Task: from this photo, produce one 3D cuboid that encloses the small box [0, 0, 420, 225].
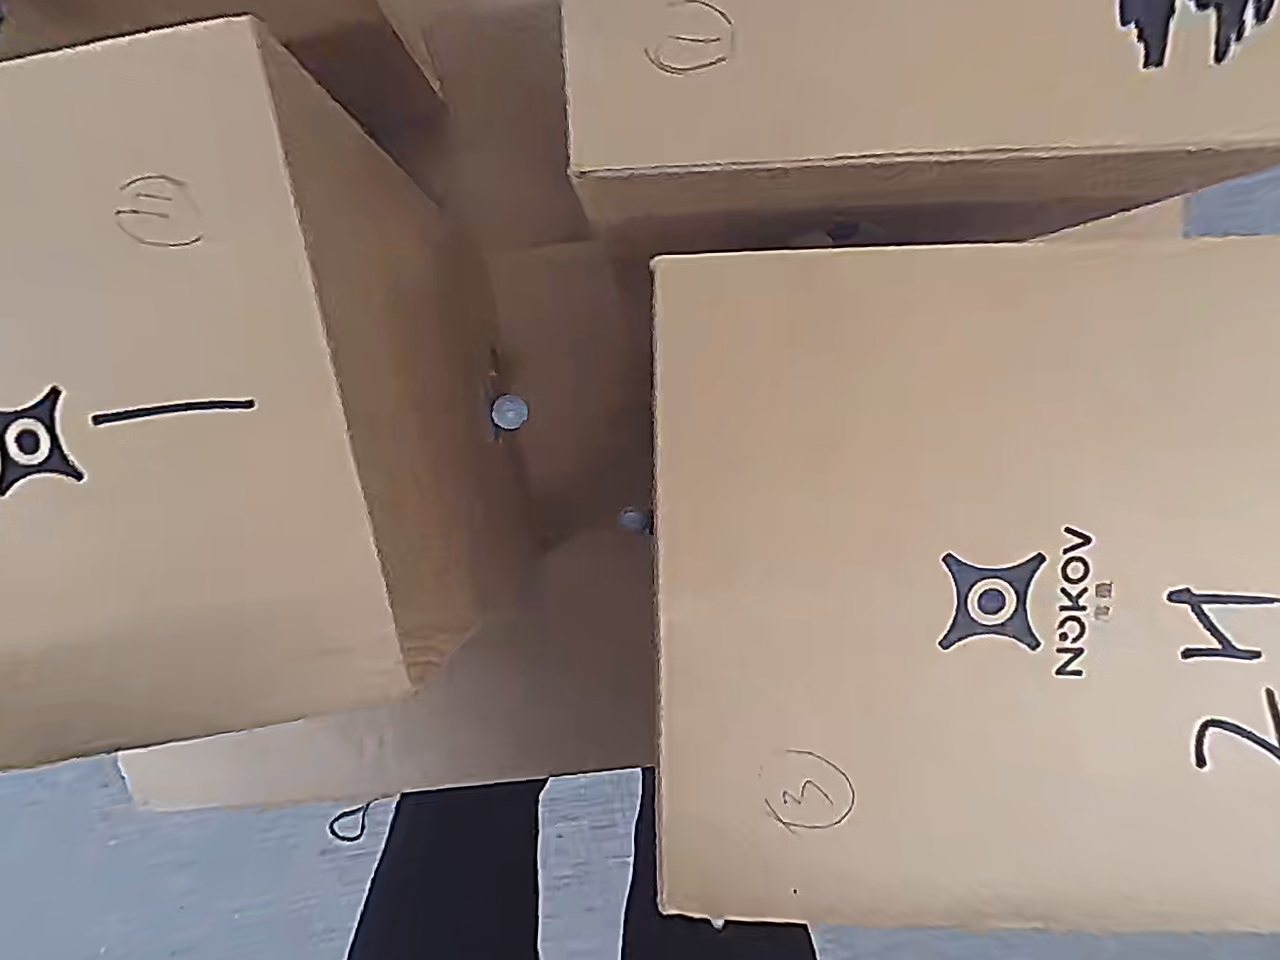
[{"bbox_3d":[-0.205,-0.222,0.194,0.179,0.176,0.168,-18,96,4],"label":"small box"}]
